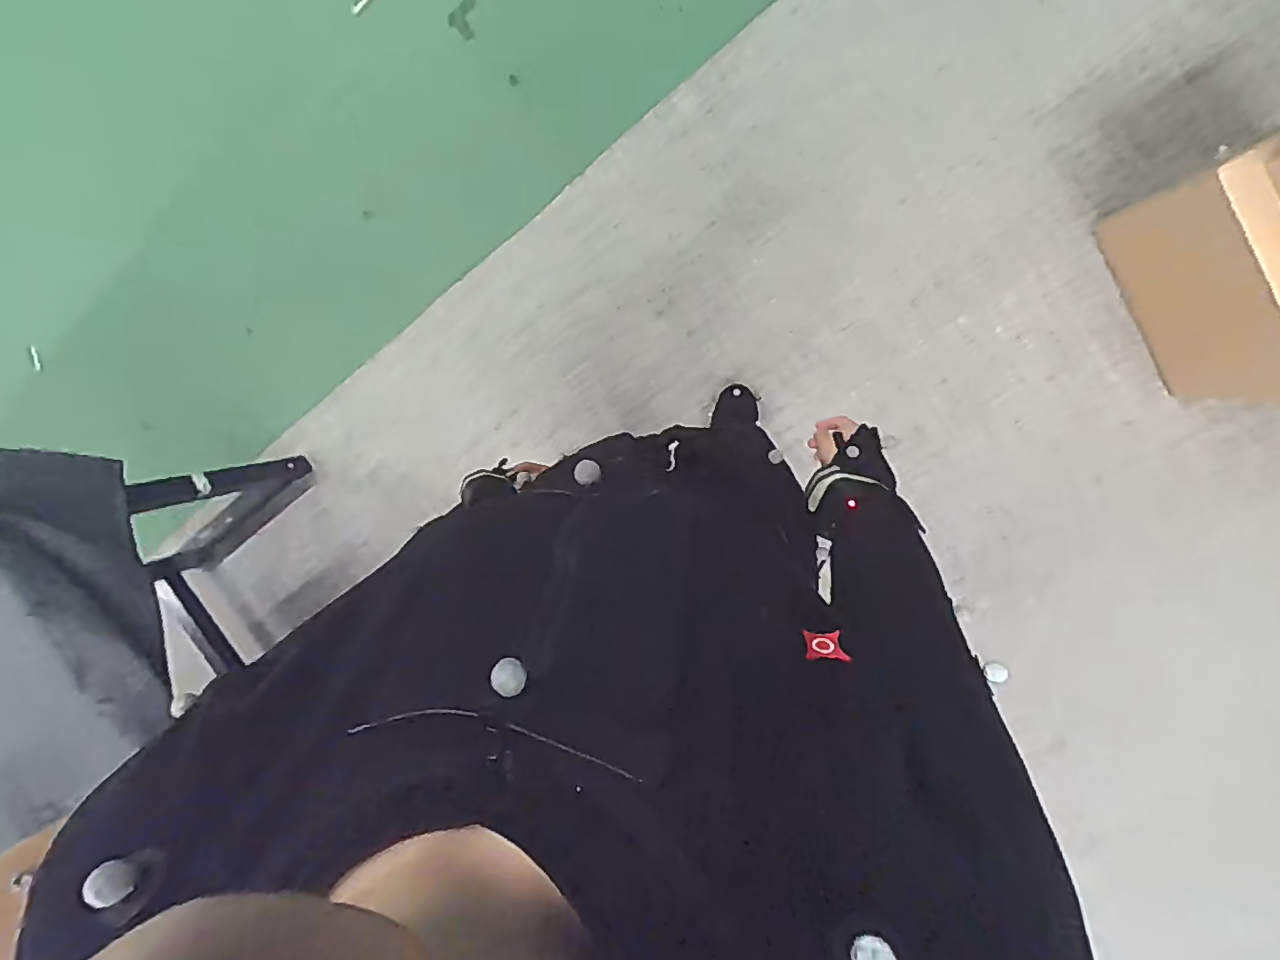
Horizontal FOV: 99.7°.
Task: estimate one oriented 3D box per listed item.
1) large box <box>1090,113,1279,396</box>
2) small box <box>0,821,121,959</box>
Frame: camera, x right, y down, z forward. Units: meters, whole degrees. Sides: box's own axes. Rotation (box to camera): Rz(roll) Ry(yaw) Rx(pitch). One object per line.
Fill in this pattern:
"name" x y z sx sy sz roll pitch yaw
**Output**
"large box" 1.103 -0.394 0.927 0.320 0.320 0.408 -29 95 15
"small box" -0.987 0.685 0.855 0.179 0.176 0.168 -30 92 16
